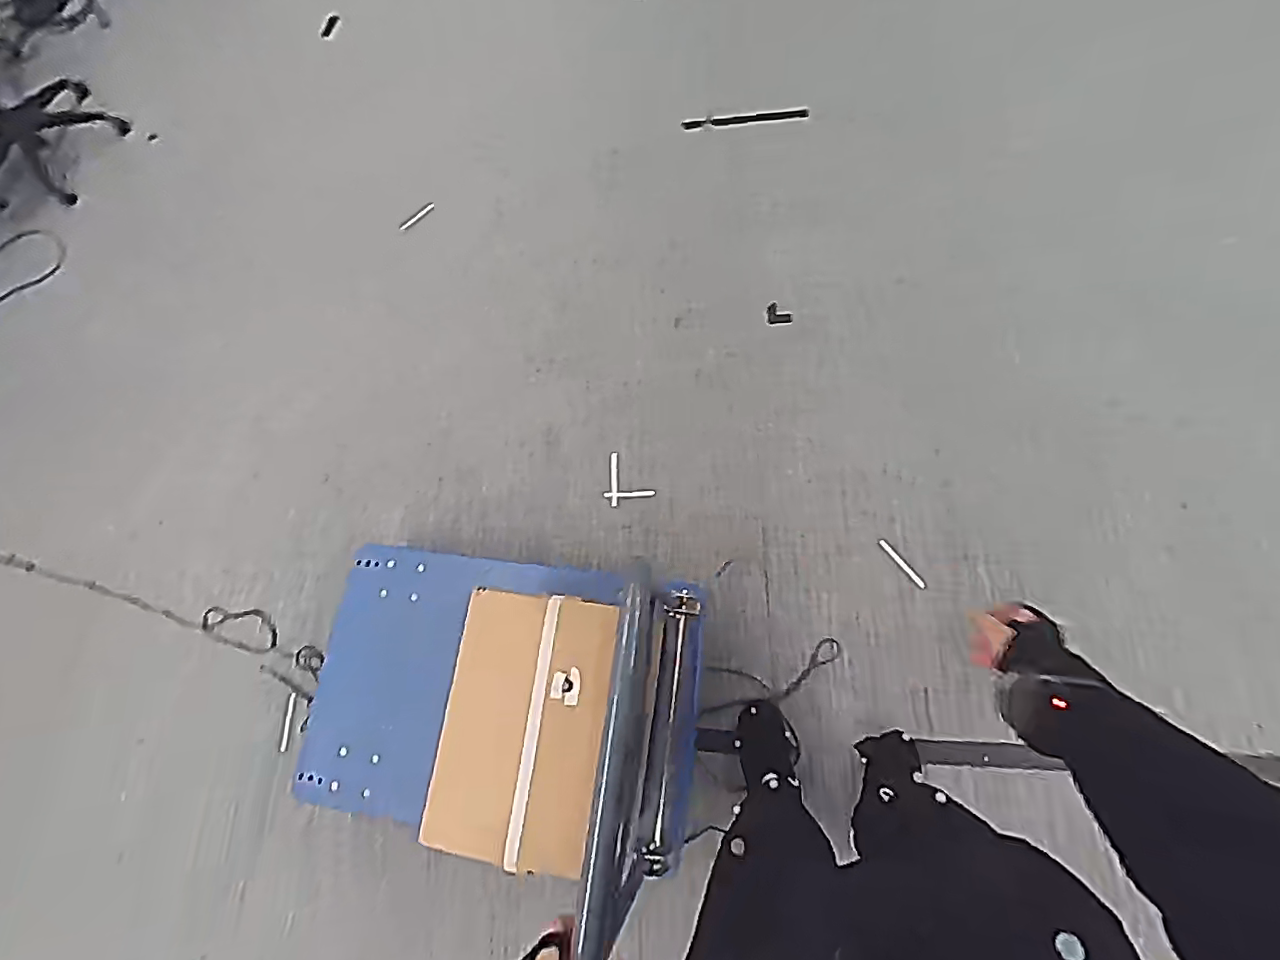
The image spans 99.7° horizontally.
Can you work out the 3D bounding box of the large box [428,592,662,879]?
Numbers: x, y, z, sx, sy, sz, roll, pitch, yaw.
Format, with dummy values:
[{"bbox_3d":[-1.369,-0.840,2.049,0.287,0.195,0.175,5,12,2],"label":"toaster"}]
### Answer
[{"bbox_3d":[-0.146,0.445,1.029,0.320,0.320,0.408,5,73,10],"label":"large box"}]
